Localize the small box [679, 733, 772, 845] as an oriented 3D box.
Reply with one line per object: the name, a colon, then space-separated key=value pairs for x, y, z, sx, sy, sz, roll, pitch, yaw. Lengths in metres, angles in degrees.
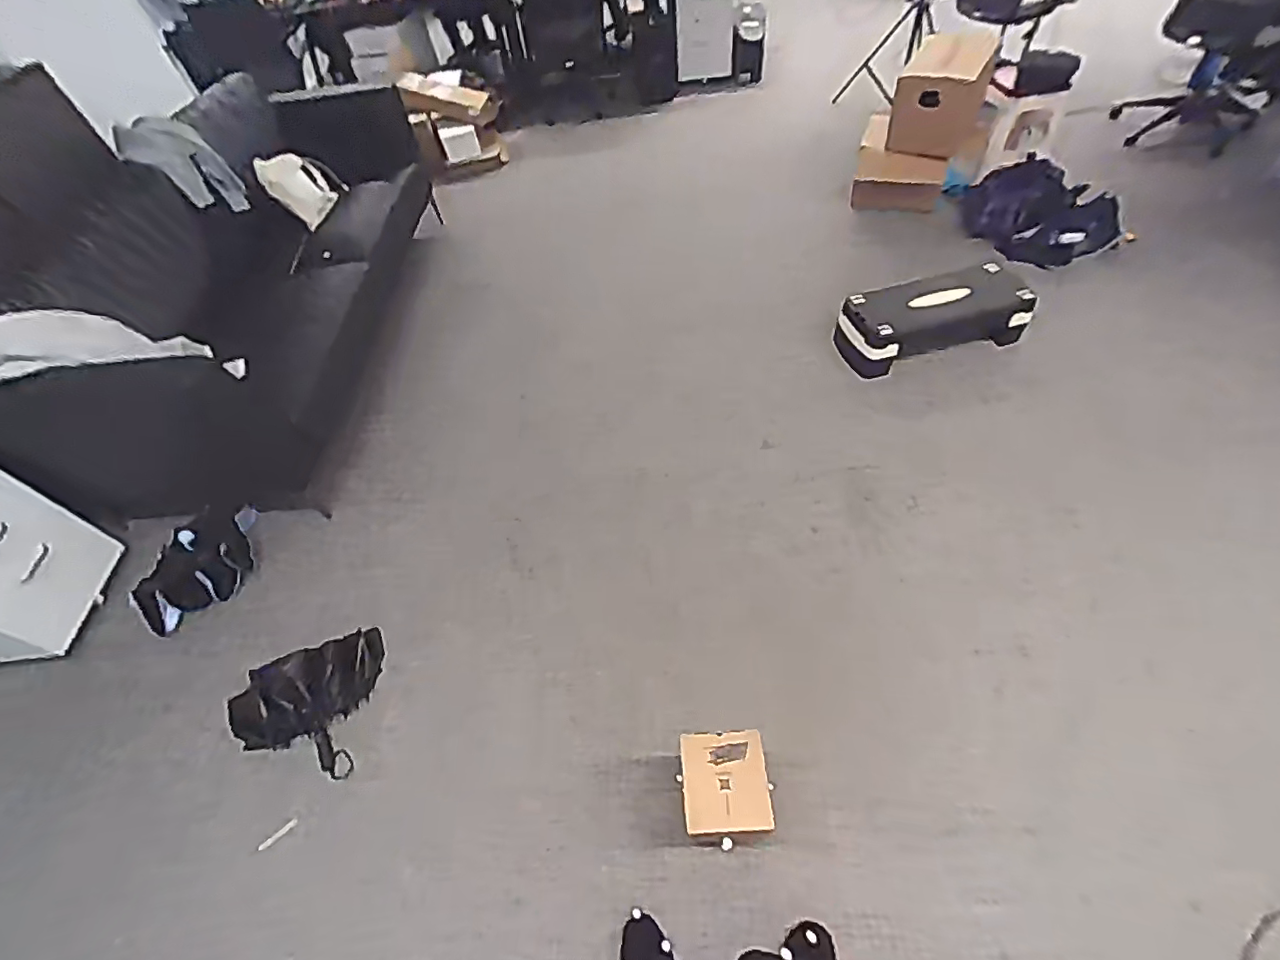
small box: x=0.170 y=0.640 z=1.116 sx=0.168 sy=0.176 sz=0.179 roll=-6 pitch=52 yaw=4
